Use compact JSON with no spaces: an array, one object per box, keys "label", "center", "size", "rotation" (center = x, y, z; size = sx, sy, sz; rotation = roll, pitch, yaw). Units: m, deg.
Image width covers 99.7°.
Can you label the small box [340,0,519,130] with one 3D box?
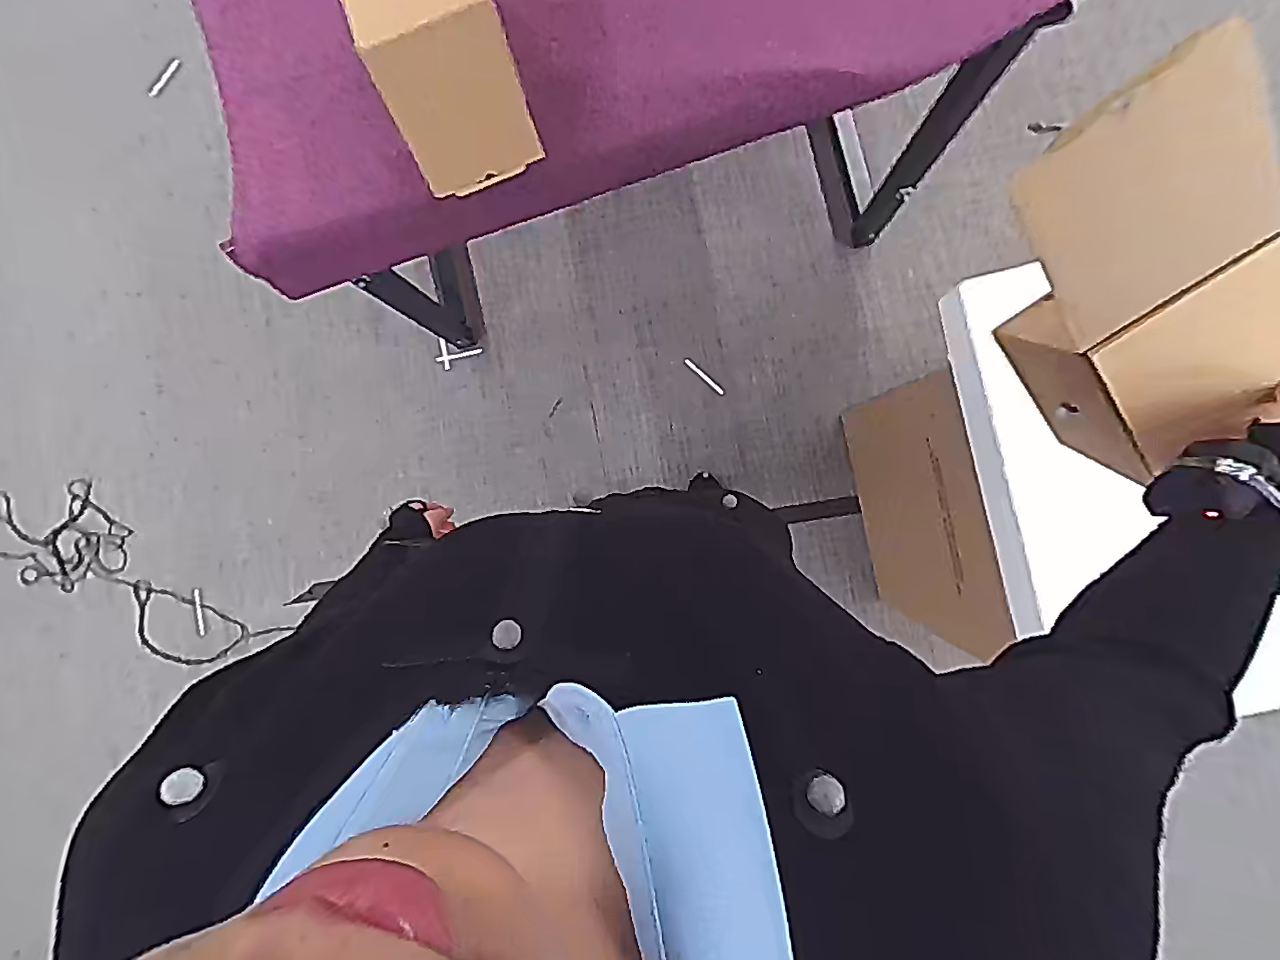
[{"label":"small box","center":[-0.280,-0.611,0.722],"size":[0.168,0.176,0.179],"rotation":[-19,86,3]}]
